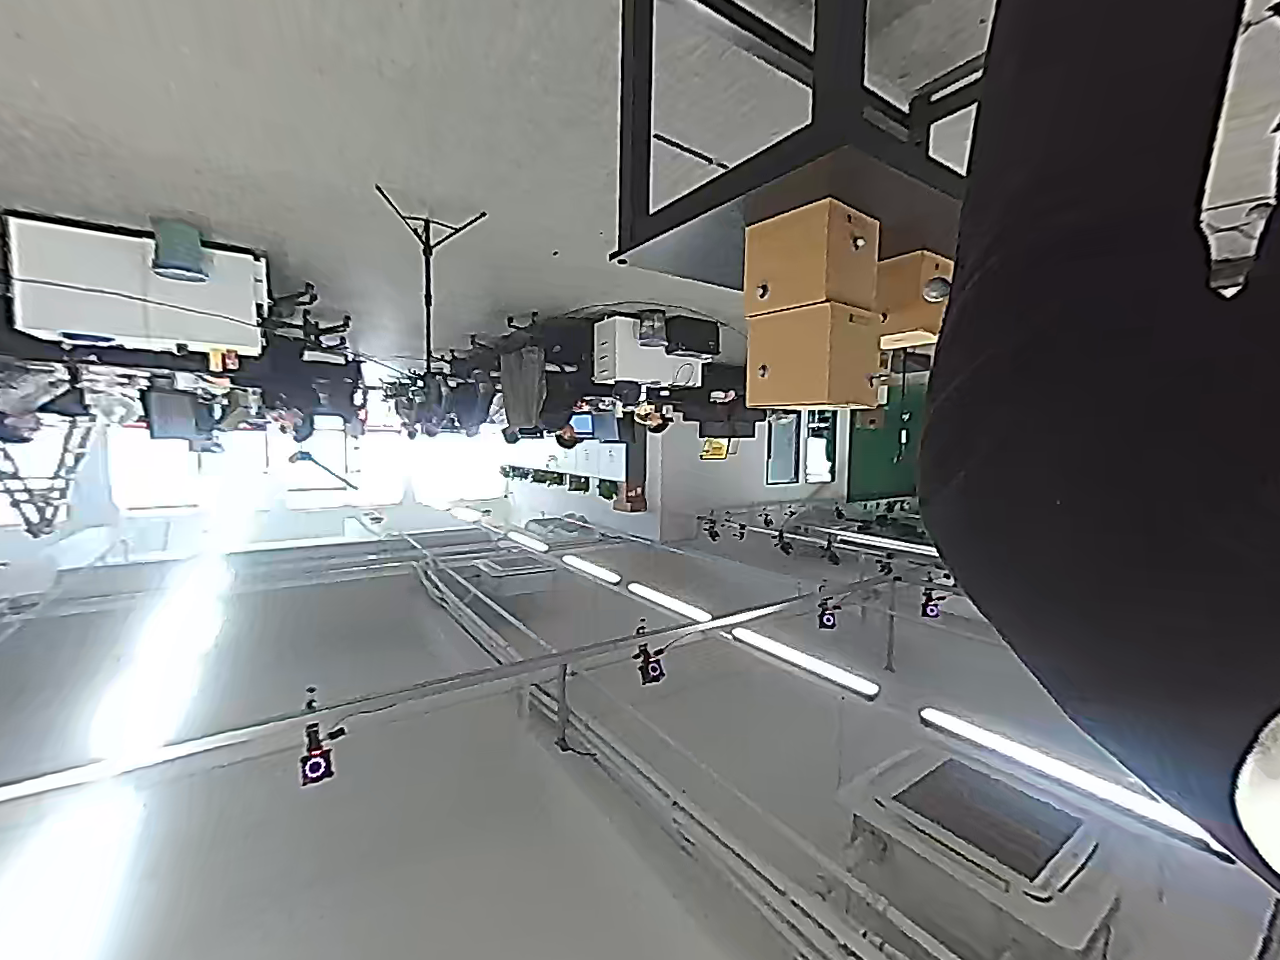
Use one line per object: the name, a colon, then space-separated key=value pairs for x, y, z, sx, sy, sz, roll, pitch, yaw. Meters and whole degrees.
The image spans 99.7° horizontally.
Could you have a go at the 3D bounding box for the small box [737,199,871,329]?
small box: x=0.299 y=-0.381 z=0.983 sx=0.168 sy=0.176 sz=0.179 roll=-5 pitch=-173 yaw=-39

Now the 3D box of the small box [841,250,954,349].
small box: x=0.582 y=-0.401 z=1.224 sx=0.168 sy=0.176 sz=0.179 roll=-2 pitch=-174 yaw=-34
